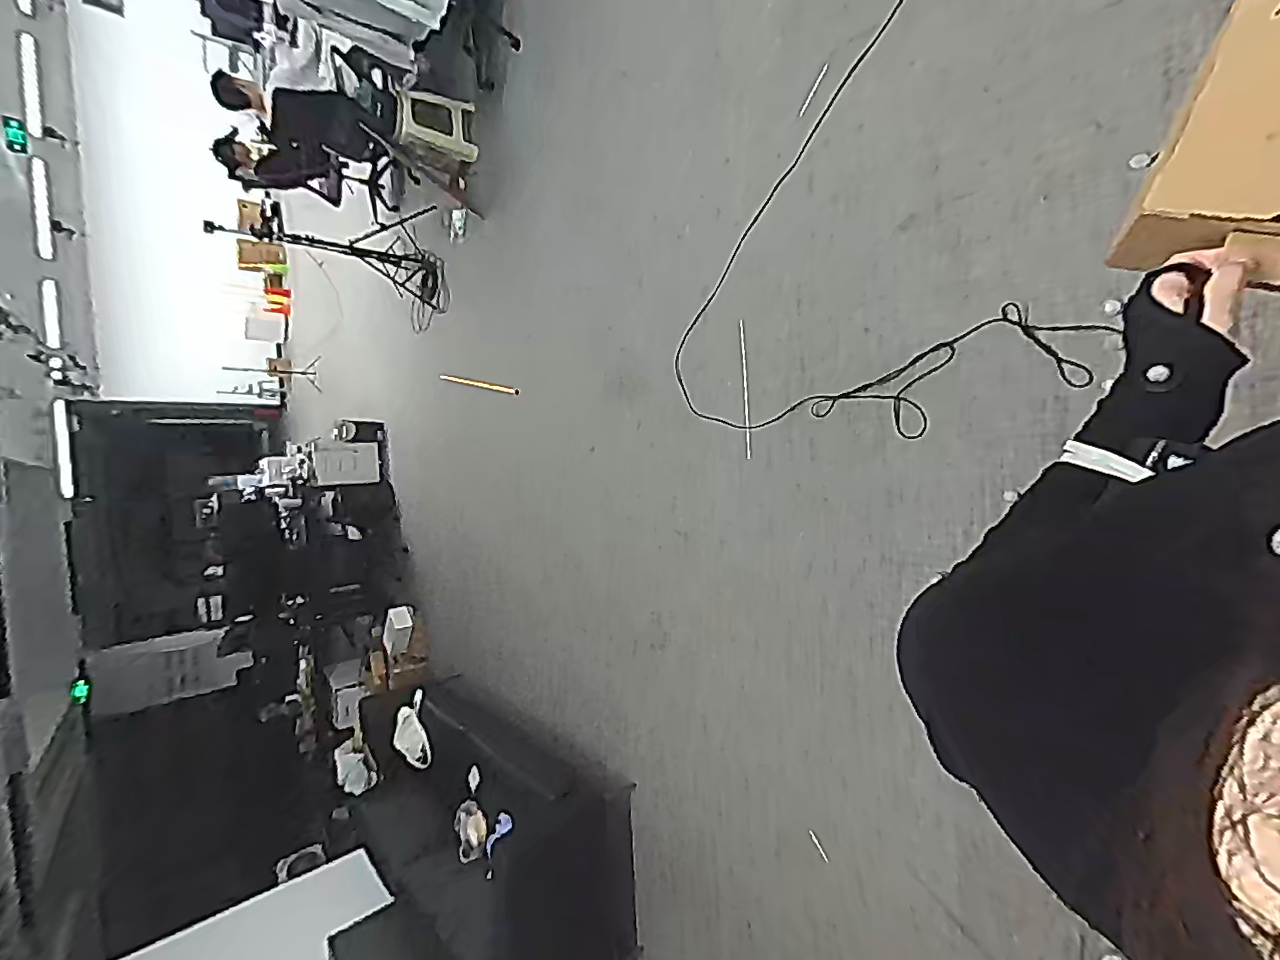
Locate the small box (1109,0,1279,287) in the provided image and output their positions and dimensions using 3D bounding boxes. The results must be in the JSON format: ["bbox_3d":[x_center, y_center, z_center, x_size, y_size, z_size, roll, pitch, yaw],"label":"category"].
[{"bbox_3d":[0.526,-0.272,0.442,0.168,0.176,0.179,25,107,29],"label":"small box"}]
